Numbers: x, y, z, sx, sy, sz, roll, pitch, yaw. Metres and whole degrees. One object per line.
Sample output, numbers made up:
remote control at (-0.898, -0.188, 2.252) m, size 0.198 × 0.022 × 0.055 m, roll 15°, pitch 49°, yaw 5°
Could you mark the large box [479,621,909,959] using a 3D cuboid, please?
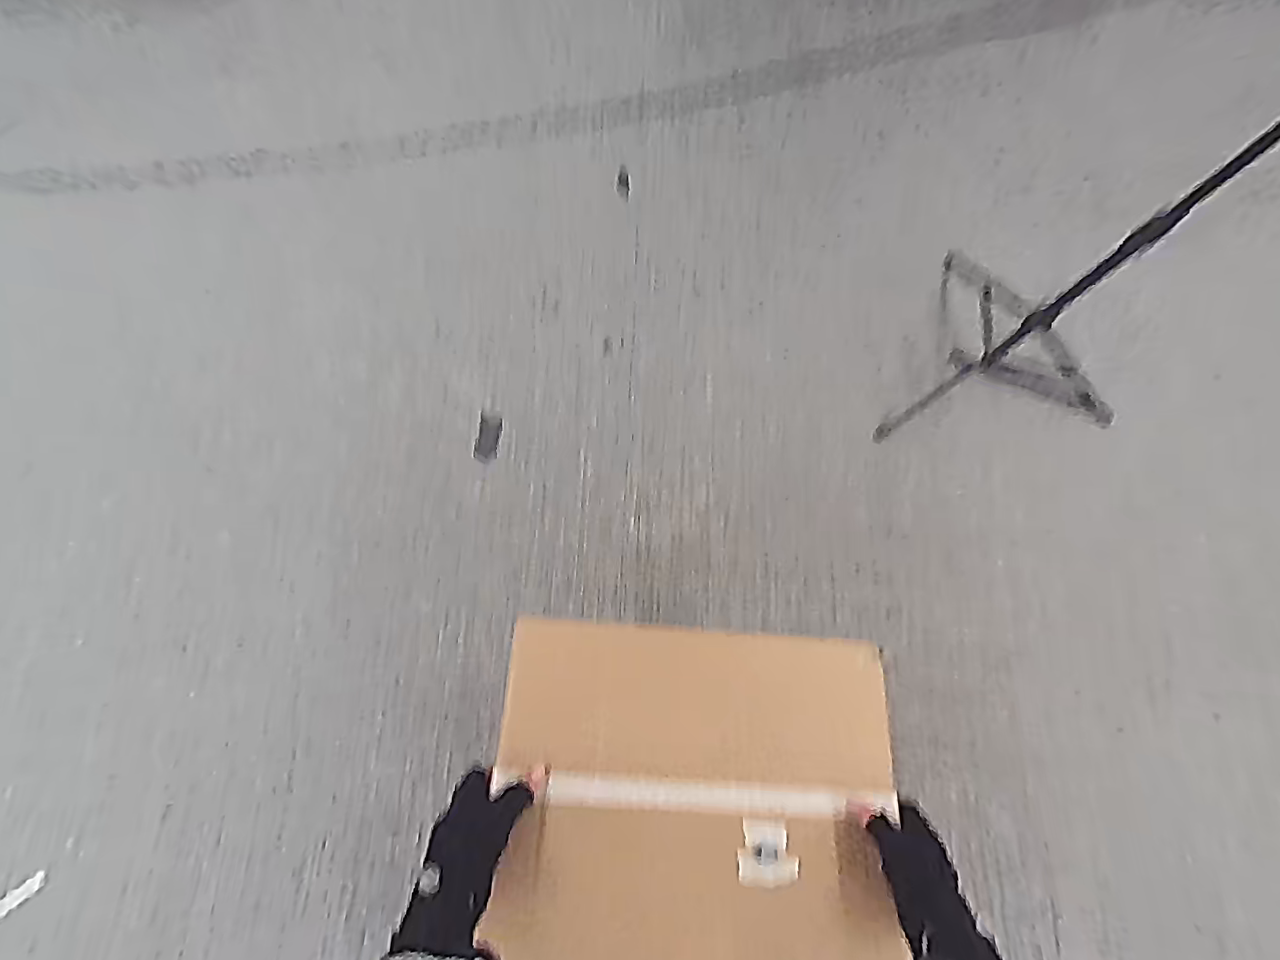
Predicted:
large box at (0.046, 0.367, 0.679) m, size 0.408 × 0.320 × 0.320 m, roll 5°, pitch 68°, yaw -3°
